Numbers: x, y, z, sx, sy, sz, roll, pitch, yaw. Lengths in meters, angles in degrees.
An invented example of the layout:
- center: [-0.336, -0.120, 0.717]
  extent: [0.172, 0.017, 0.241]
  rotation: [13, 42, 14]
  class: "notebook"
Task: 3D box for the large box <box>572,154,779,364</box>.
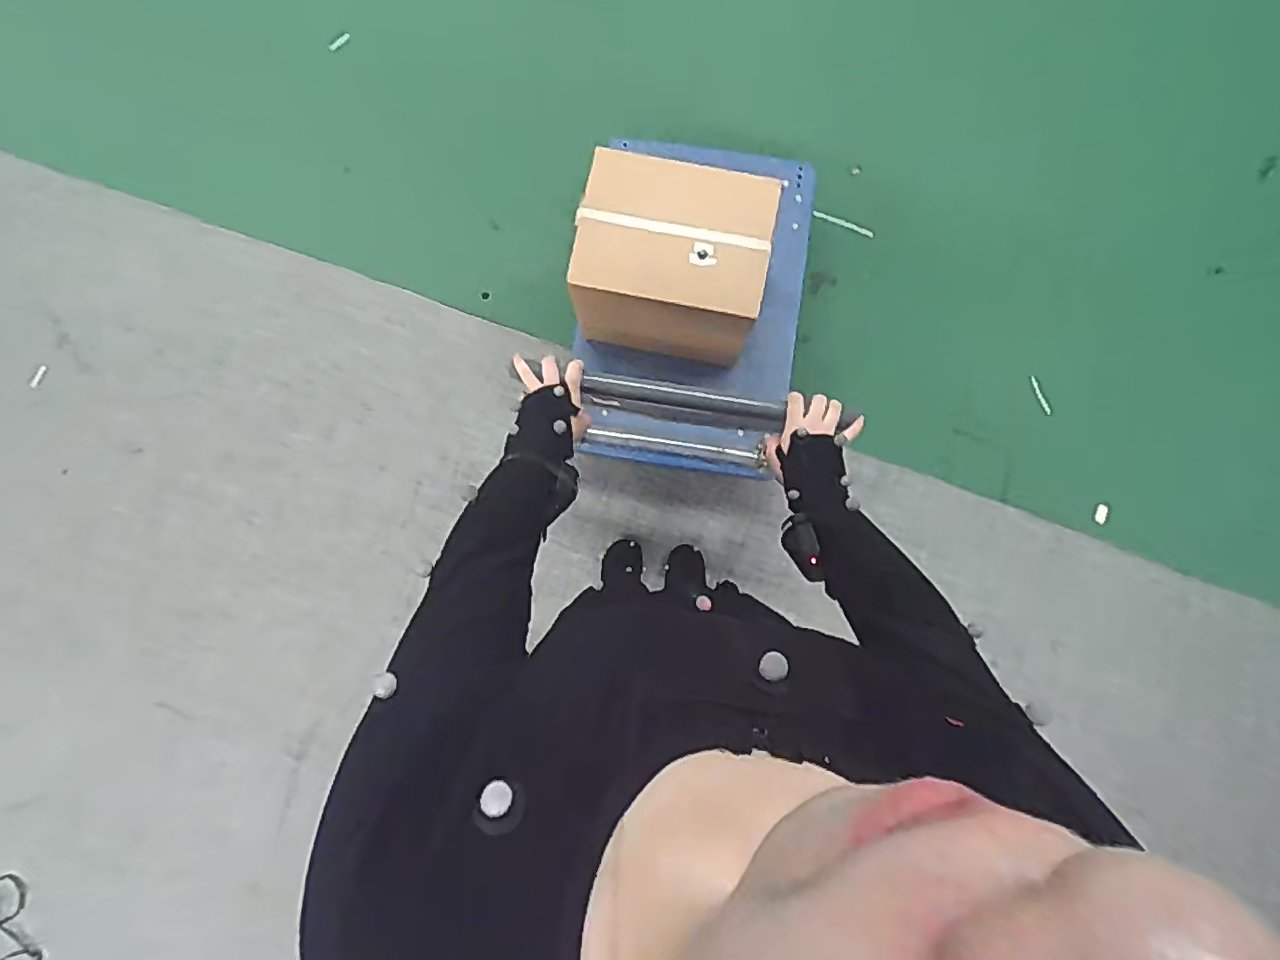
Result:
- center: [0.076, -0.503, 1.290]
  extent: [0.408, 0.320, 0.320]
  rotation: [11, 83, 1]
  class: "large box"
